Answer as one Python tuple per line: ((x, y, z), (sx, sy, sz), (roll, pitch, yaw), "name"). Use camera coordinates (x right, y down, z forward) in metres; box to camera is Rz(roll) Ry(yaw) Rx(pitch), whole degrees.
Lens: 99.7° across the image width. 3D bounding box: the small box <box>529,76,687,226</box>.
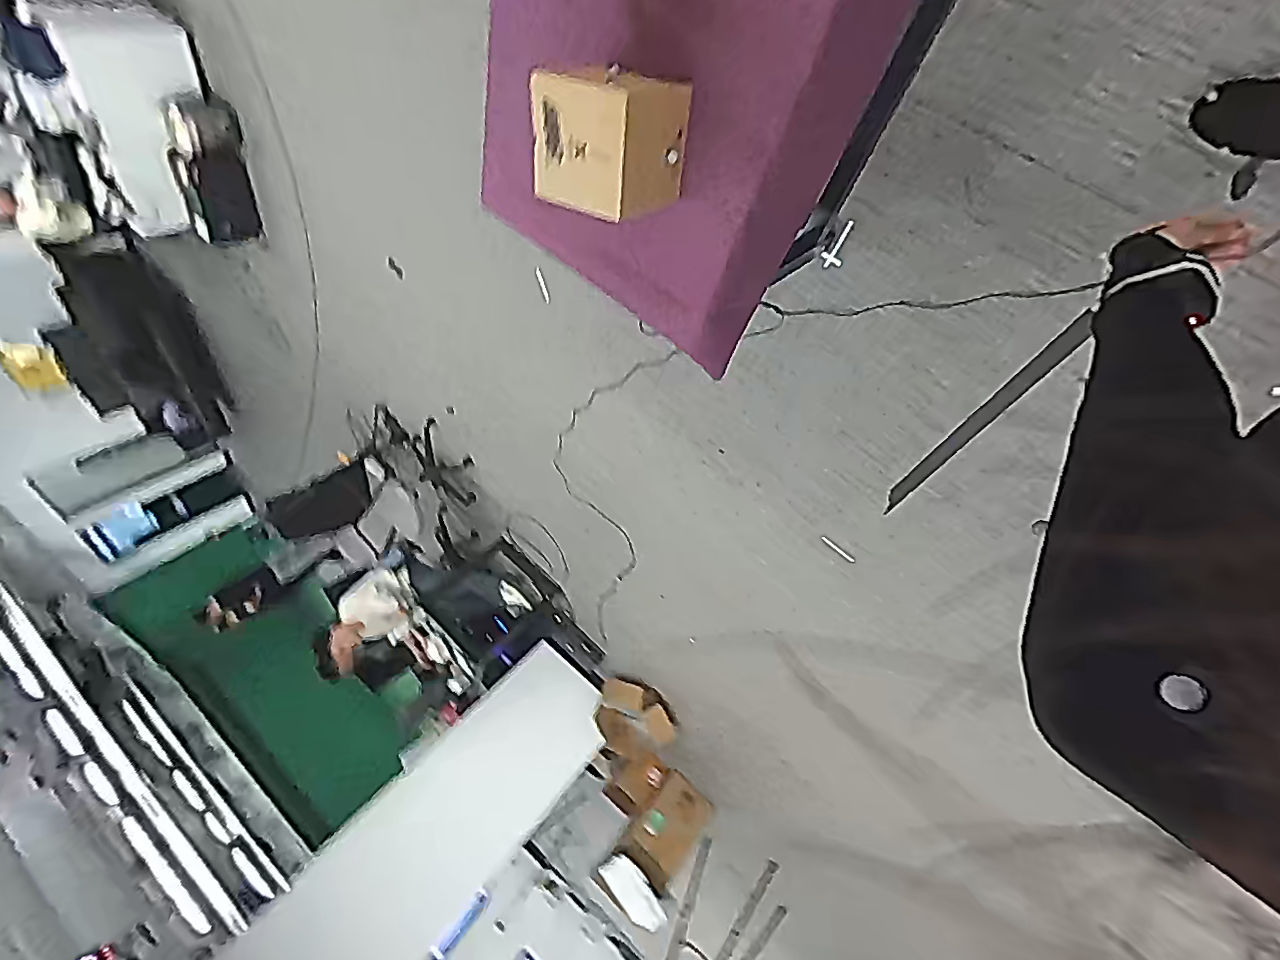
((-0.050, -0.525, 0.853), (0.179, 0.176, 0.168), (29, 138, 23), "small box")
